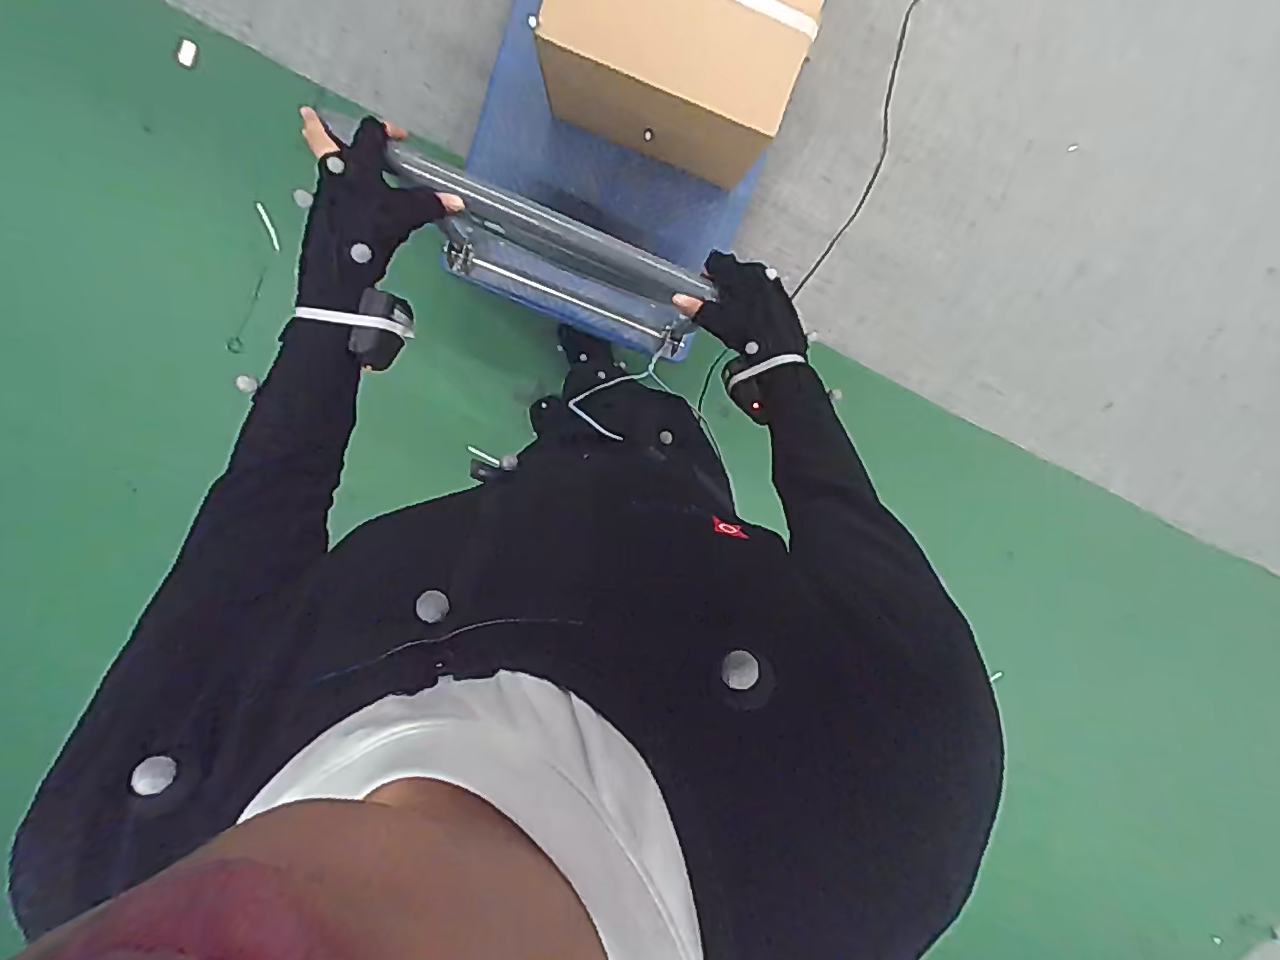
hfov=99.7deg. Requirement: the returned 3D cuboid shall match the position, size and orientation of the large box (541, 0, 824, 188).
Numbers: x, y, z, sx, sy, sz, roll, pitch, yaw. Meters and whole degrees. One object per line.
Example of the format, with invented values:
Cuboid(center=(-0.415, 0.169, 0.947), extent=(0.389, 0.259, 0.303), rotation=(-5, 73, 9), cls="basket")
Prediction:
Cuboid(center=(0.075, -0.785, 0.968), extent=(0.408, 0.320, 0.320), rotation=(17, 101, -7), cls="large box")
